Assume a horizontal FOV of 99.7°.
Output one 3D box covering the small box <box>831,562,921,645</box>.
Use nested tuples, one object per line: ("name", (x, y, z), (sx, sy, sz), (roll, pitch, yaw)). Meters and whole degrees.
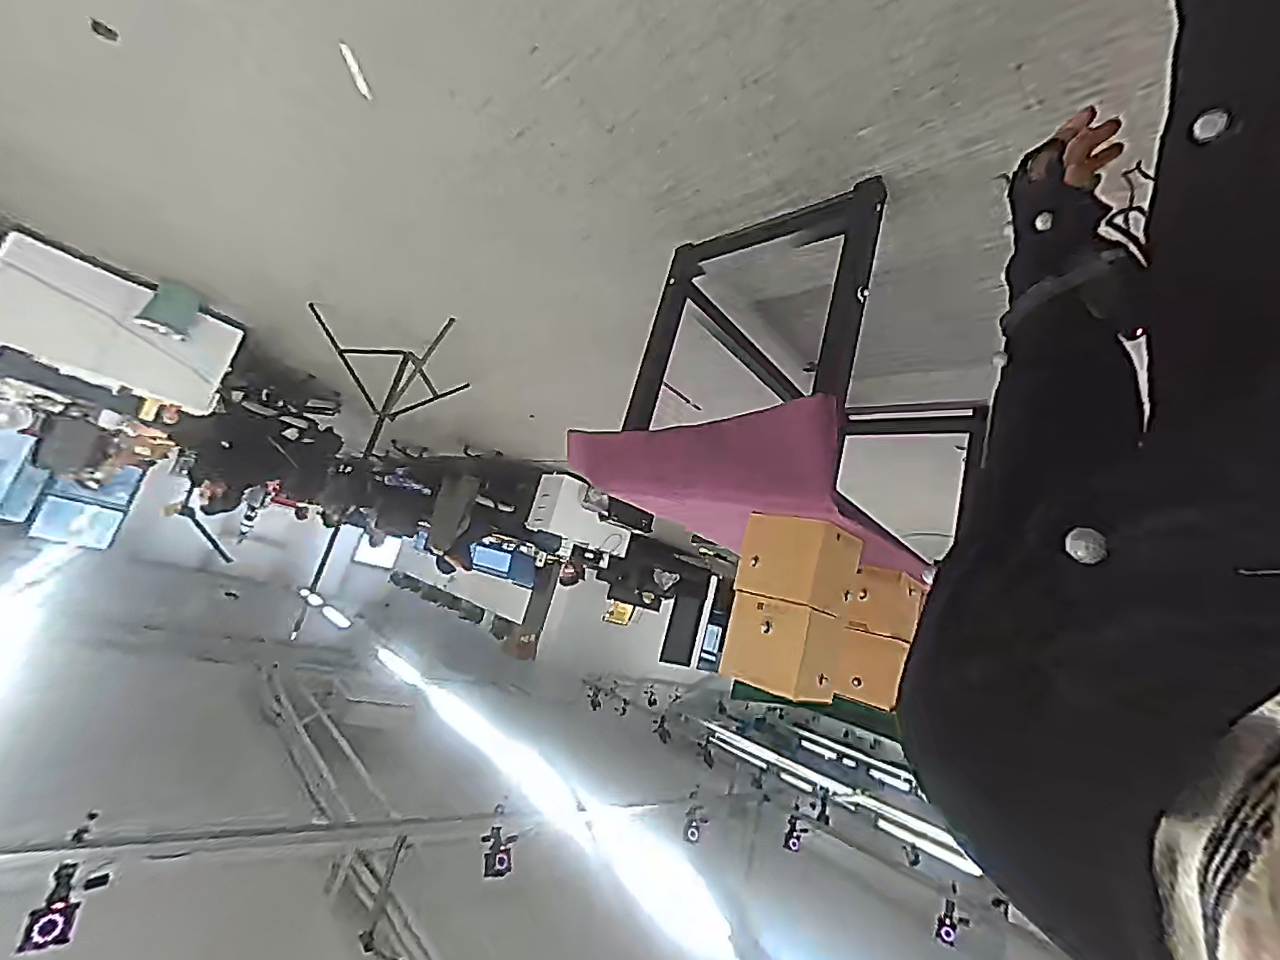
("small box", (0.618, 0.320, 1.415), (0.168, 0.176, 0.179), (3, 163, 44))

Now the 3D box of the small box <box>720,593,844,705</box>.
("small box", (0.288, 0.335, 1.080), (0.168, 0.176, 0.179), (4, 165, 43))

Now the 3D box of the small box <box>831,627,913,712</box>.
("small box", (0.578, 0.476, 1.375), (0.179, 0.176, 0.168), (4, 164, 44))
